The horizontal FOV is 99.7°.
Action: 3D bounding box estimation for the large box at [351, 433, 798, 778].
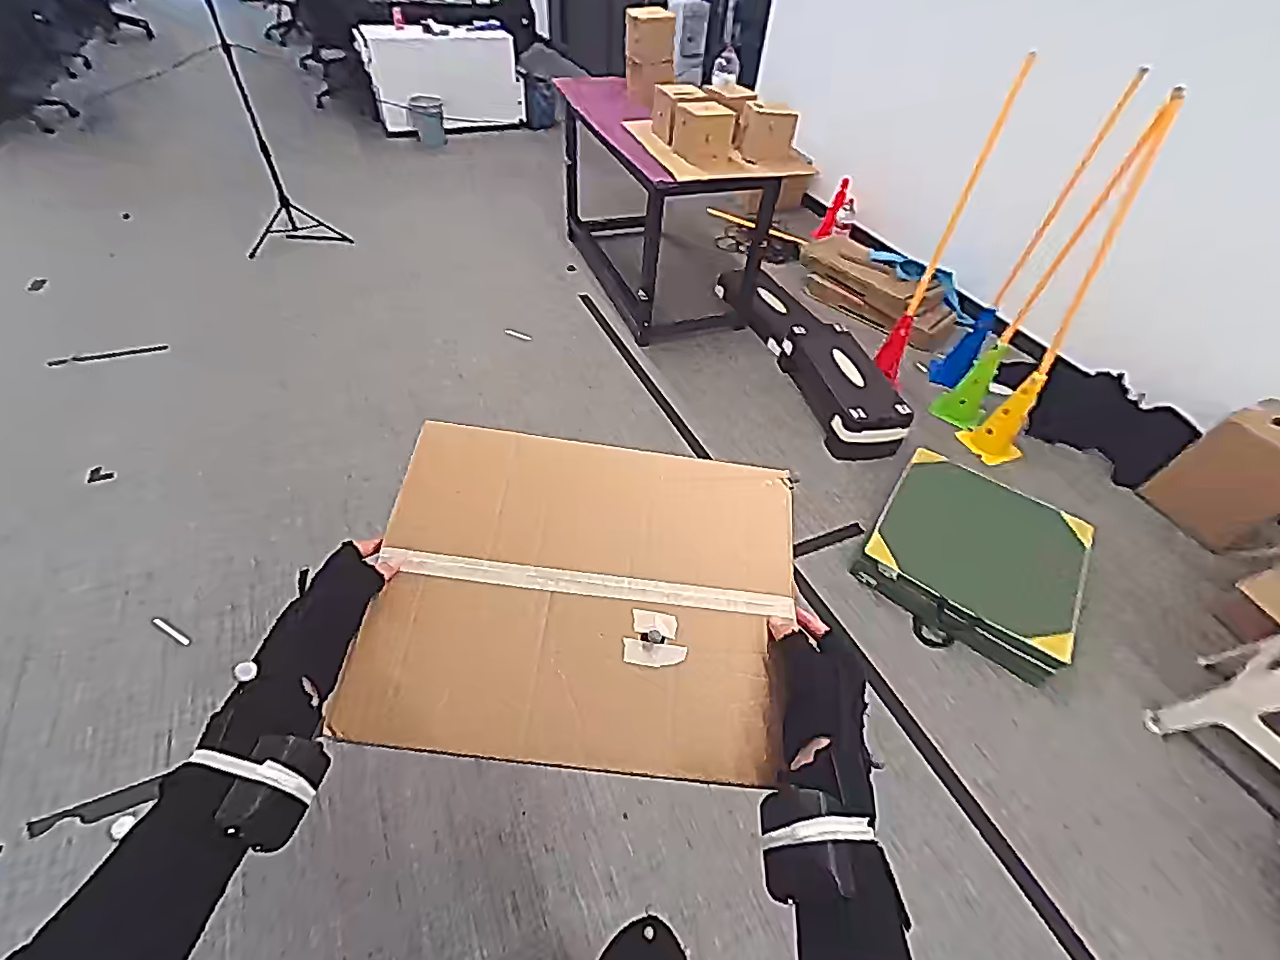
[{"bbox_3d":[-0.059,0.173,0.672,0.408,0.320,0.320,8,64,-3],"label":"large box"}]
